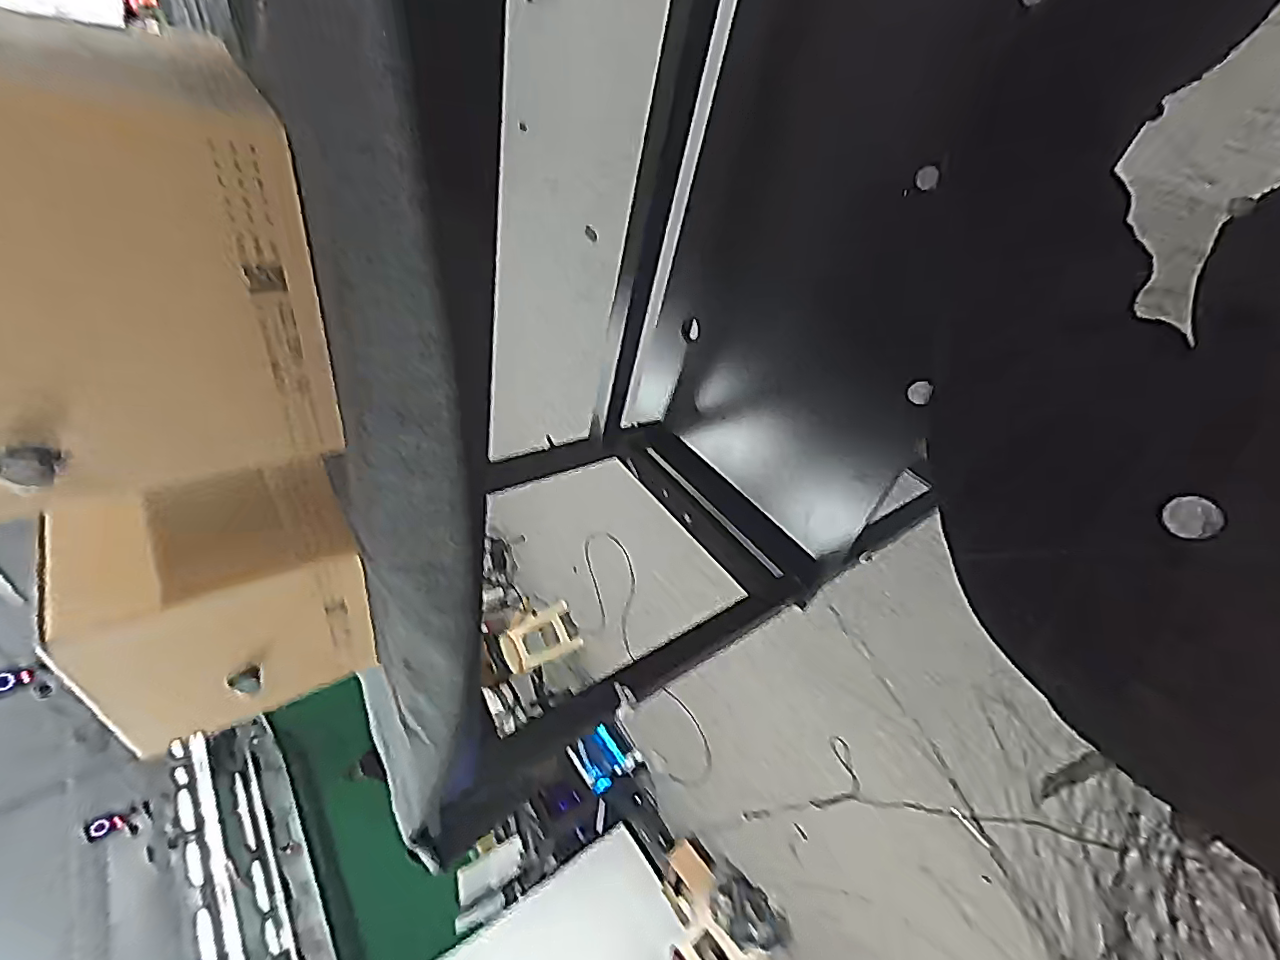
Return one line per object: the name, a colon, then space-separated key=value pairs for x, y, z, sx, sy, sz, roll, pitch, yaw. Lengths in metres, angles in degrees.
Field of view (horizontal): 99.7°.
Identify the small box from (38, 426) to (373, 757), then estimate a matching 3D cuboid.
small box: x=-0.327 y=0.076 z=0.438 sx=0.179 sy=0.176 sz=0.168 roll=50 pitch=140 yaw=31
